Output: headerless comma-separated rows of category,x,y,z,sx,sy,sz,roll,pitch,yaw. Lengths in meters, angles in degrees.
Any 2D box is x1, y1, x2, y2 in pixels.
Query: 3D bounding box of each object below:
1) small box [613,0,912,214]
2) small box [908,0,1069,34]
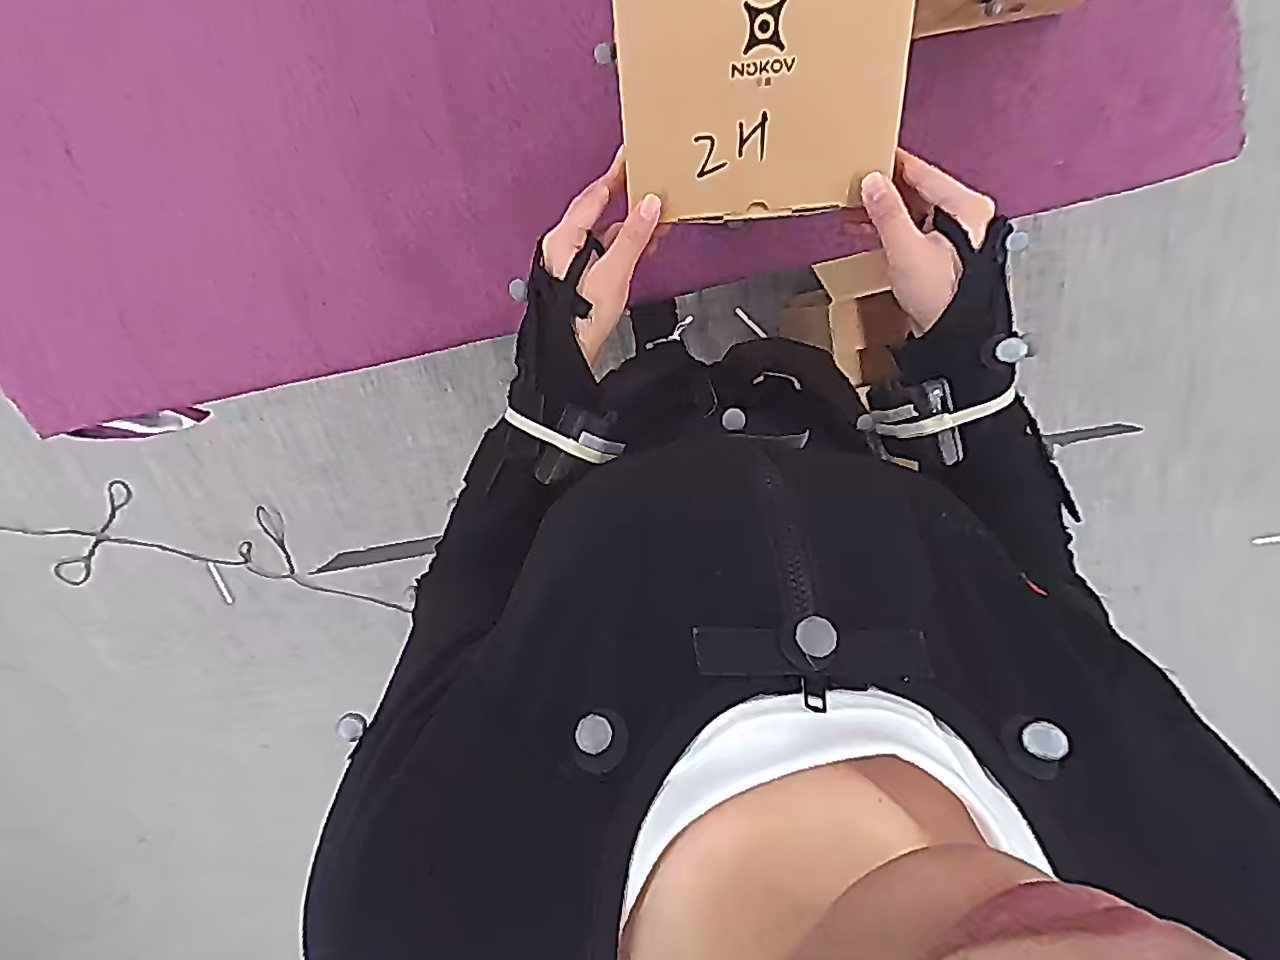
small box,0.069,-0.286,0.372,0.168,0.176,0.179,-3,118,5
small box,0.284,-0.462,0.377,0.168,0.176,0.179,-7,109,4
